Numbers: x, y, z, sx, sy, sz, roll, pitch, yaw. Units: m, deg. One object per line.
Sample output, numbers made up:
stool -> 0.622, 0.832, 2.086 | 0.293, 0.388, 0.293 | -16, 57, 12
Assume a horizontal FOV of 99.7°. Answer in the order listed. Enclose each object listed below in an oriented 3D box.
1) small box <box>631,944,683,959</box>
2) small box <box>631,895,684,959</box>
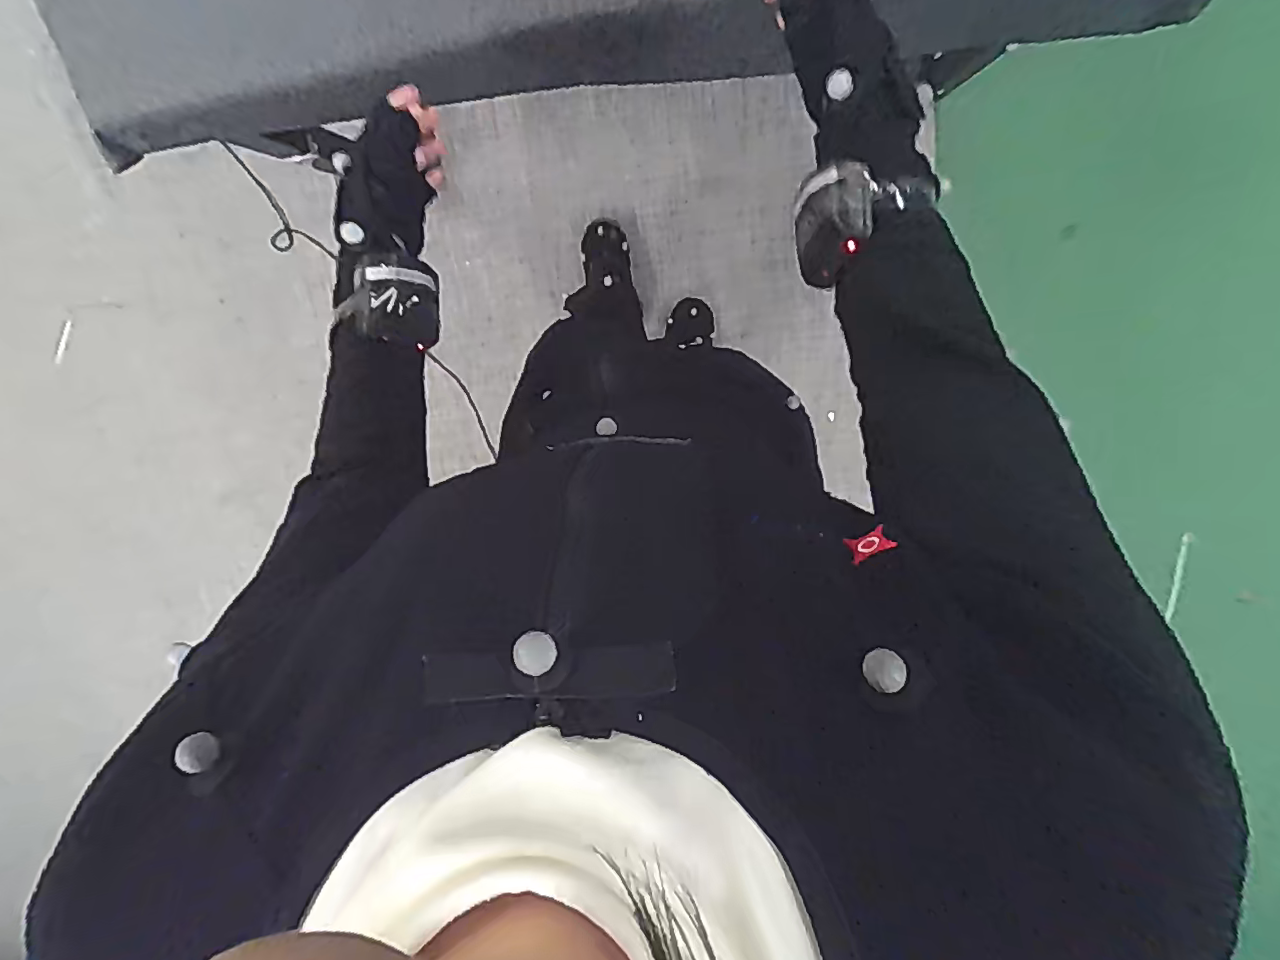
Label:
small box -> 0.059, 1.720, 1.834 | 0.179, 0.176, 0.168 | -9, 109, 7
small box -> 0.068, 1.668, 1.990 | 0.179, 0.176, 0.168 | -7, 109, 6
